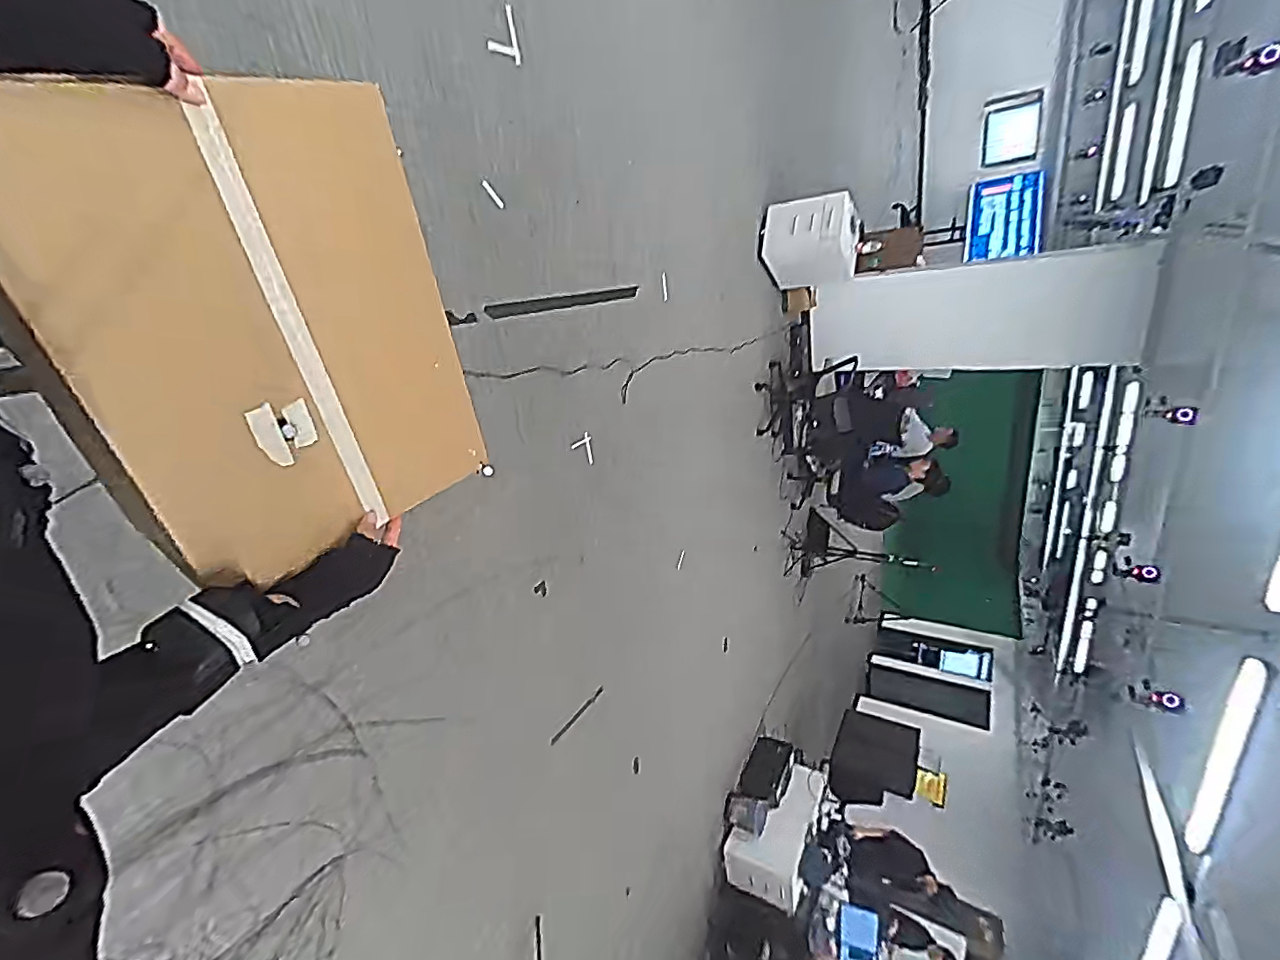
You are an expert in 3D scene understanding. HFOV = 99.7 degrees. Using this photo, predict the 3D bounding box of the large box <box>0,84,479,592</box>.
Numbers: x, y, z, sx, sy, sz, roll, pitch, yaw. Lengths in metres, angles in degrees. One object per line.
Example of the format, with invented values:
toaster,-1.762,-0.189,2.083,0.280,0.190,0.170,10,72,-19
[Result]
large box,-0.442,-0.163,0.590,0.320,0.320,0.408,-38,132,-41
